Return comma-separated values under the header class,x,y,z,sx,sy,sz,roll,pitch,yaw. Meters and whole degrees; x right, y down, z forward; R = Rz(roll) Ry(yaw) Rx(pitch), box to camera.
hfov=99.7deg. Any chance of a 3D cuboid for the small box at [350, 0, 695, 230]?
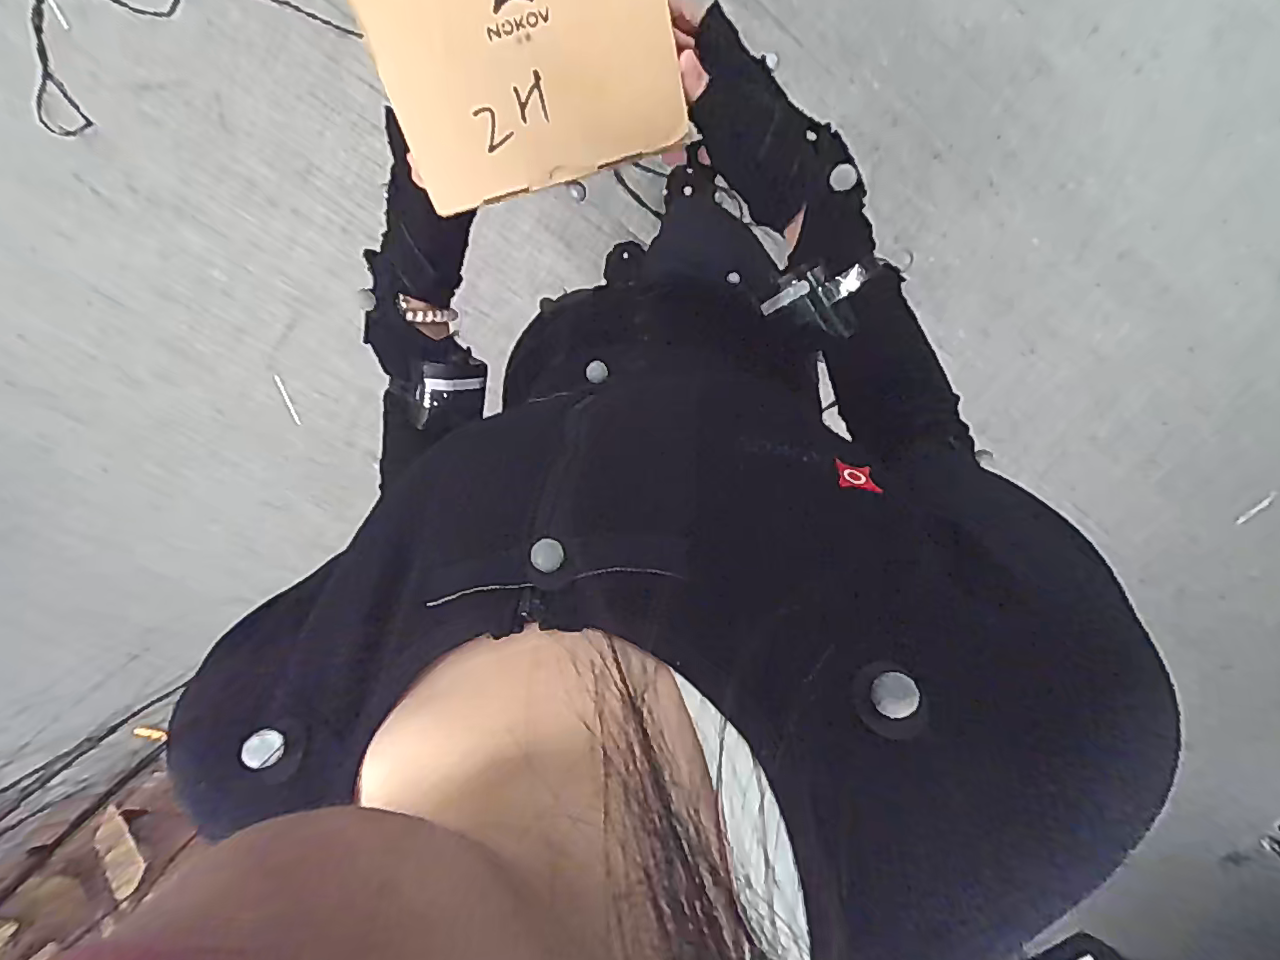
class,x,y,z,sx,sy,sz,roll,pitch,yaw
small box,-0.069,-0.283,0.356,0.168,0.176,0.179,-14,120,5
